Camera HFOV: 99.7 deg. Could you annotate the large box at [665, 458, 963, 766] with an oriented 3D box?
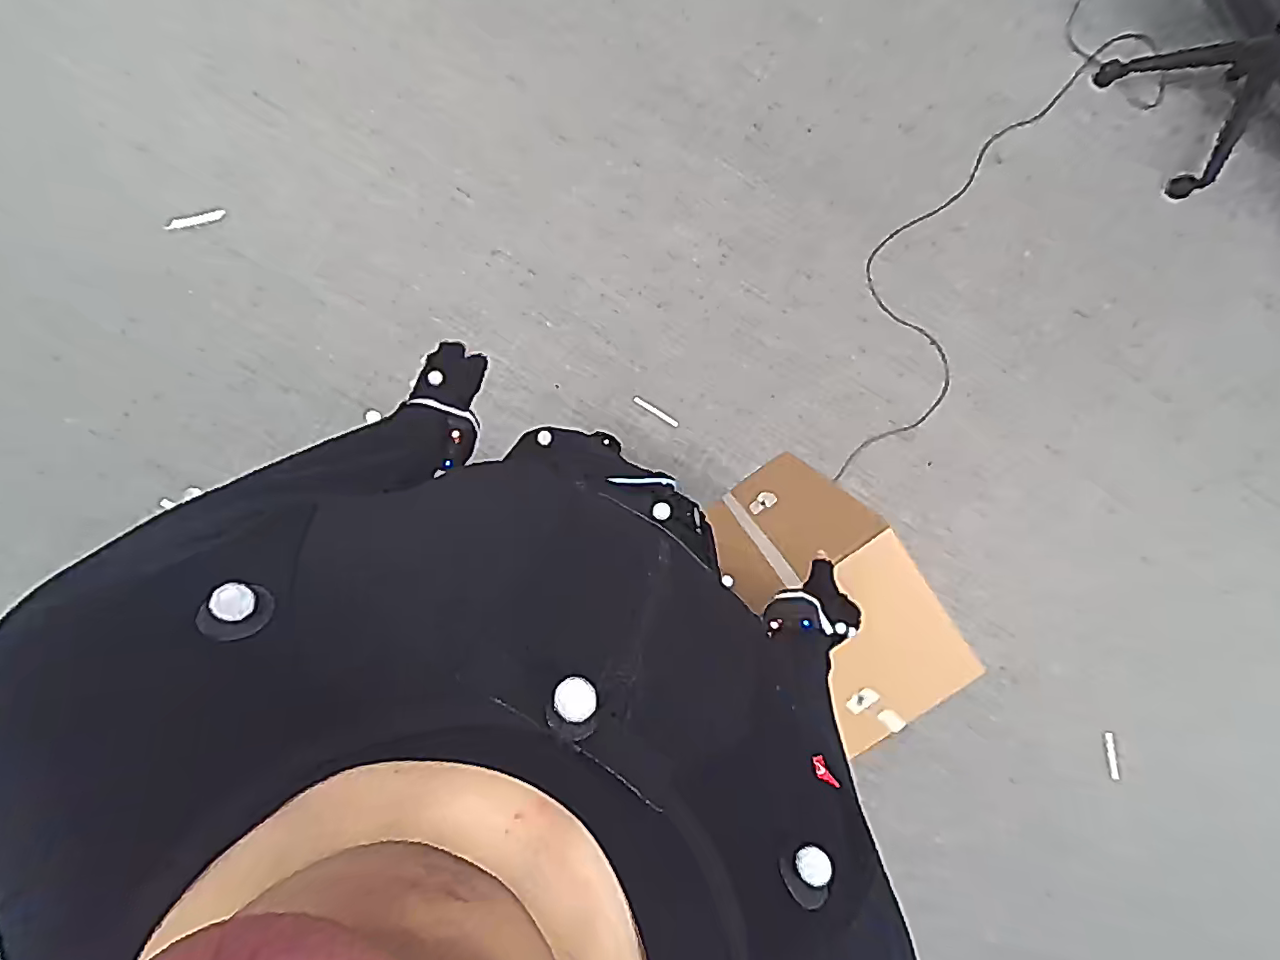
[{"bbox_3d":[0.282,0.210,0.997,0.320,0.408,0.320,-35,107,6],"label":"large box"}]
